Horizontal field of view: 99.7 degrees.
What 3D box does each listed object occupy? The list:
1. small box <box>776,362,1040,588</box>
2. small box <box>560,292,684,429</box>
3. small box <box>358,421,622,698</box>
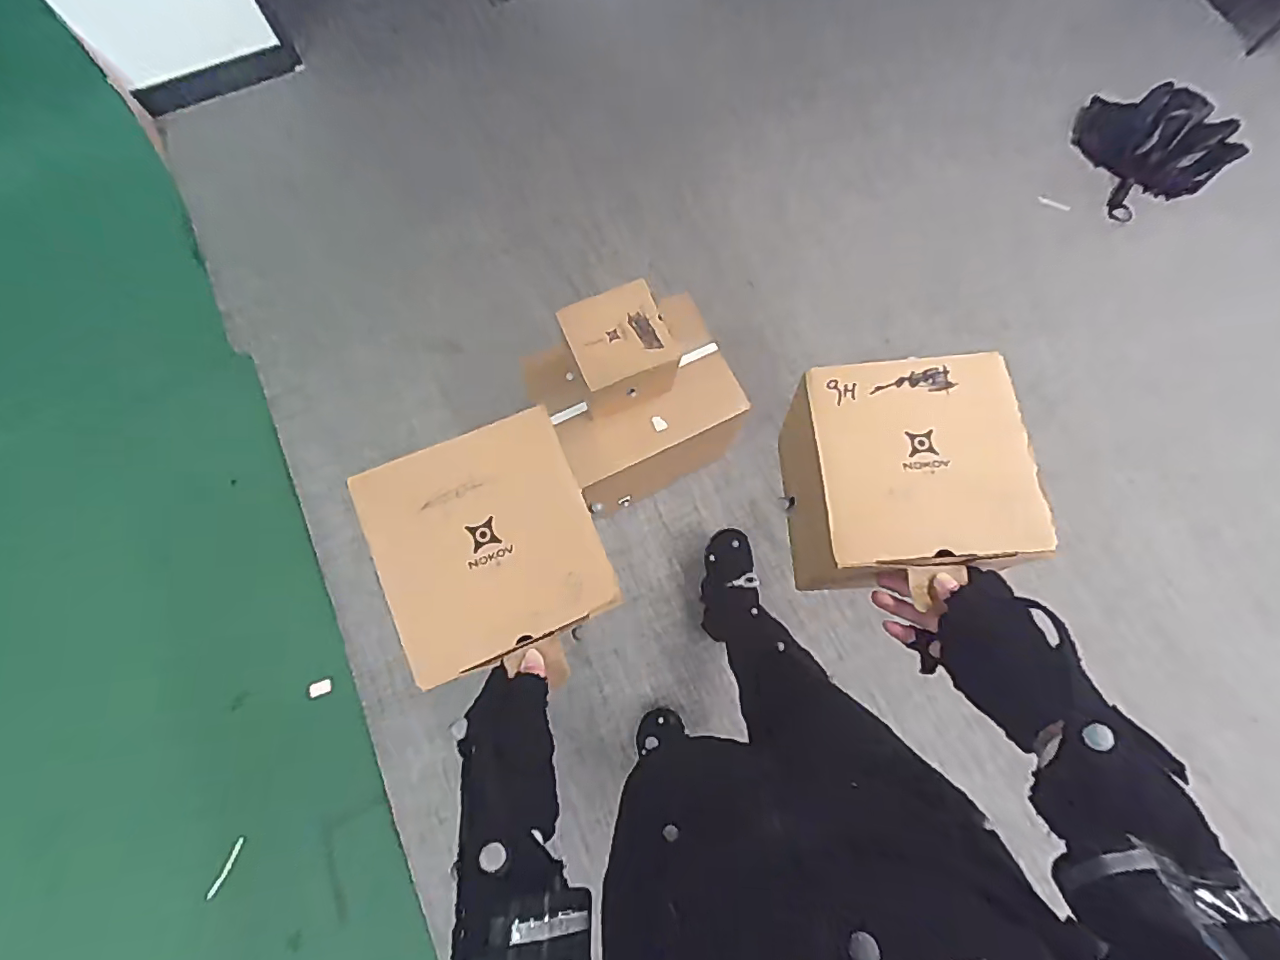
[{"bbox_3d":[0.232,0.009,0.521,0.168,0.176,0.179,-4,72,4],"label":"small box"},{"bbox_3d":[-0.038,-0.221,1.035,0.179,0.176,0.168,-27,81,-8],"label":"small box"},{"bbox_3d":[-0.124,0.075,0.509,0.168,0.176,0.179,-24,78,-9],"label":"small box"}]
